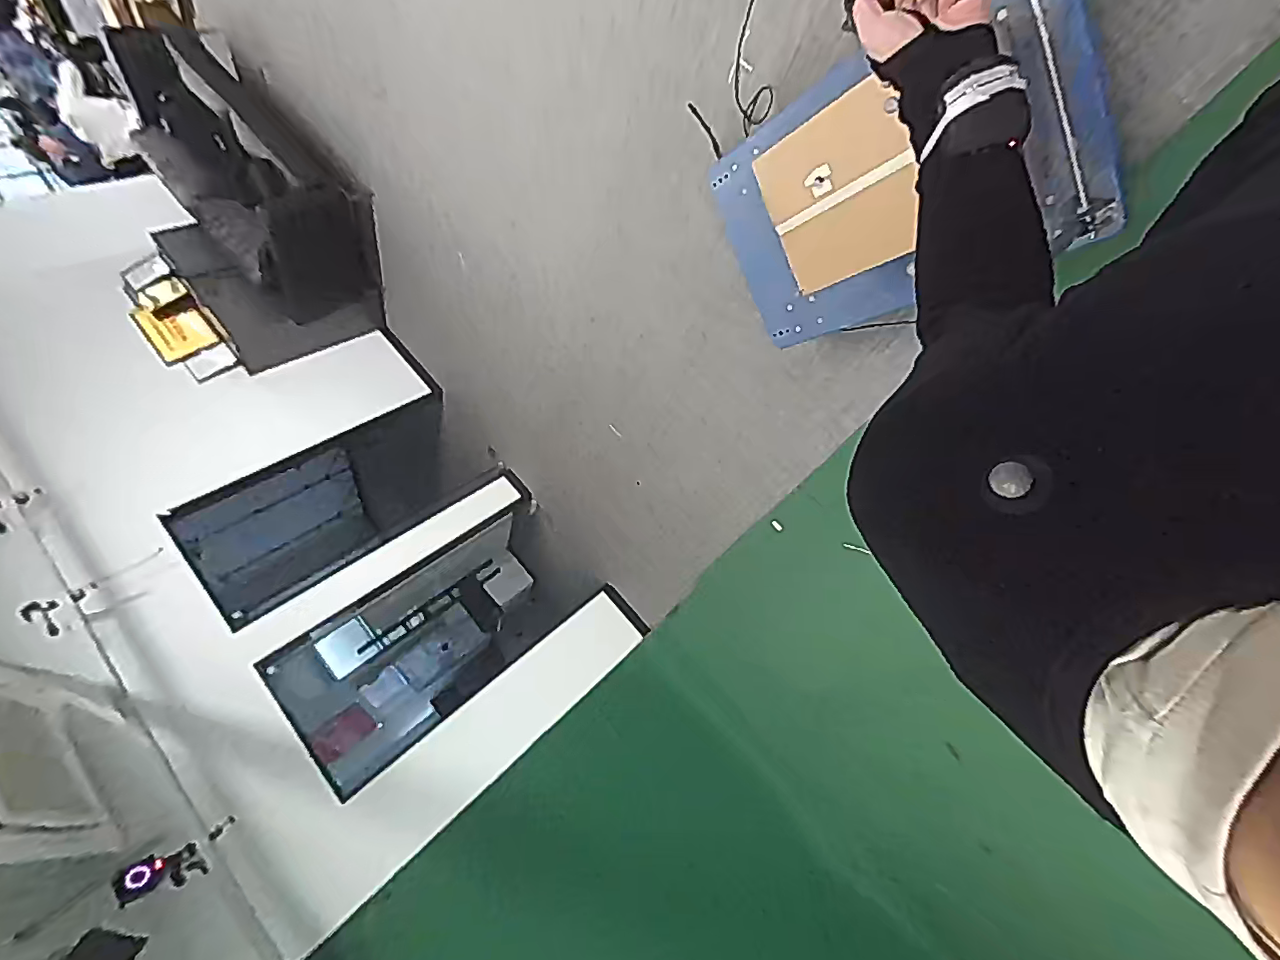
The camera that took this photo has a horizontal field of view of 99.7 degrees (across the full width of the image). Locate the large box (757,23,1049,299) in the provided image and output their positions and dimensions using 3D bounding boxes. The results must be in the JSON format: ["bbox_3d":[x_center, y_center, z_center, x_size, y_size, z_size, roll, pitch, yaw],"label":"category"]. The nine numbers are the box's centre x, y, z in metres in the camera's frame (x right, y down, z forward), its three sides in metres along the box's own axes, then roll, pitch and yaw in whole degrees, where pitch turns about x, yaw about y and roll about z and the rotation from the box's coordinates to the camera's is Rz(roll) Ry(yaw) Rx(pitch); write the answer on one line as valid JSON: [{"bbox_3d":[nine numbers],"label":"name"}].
[{"bbox_3d":[0.535,-0.637,1.126,0.408,0.320,0.320,-6,113,56],"label":"large box"}]
